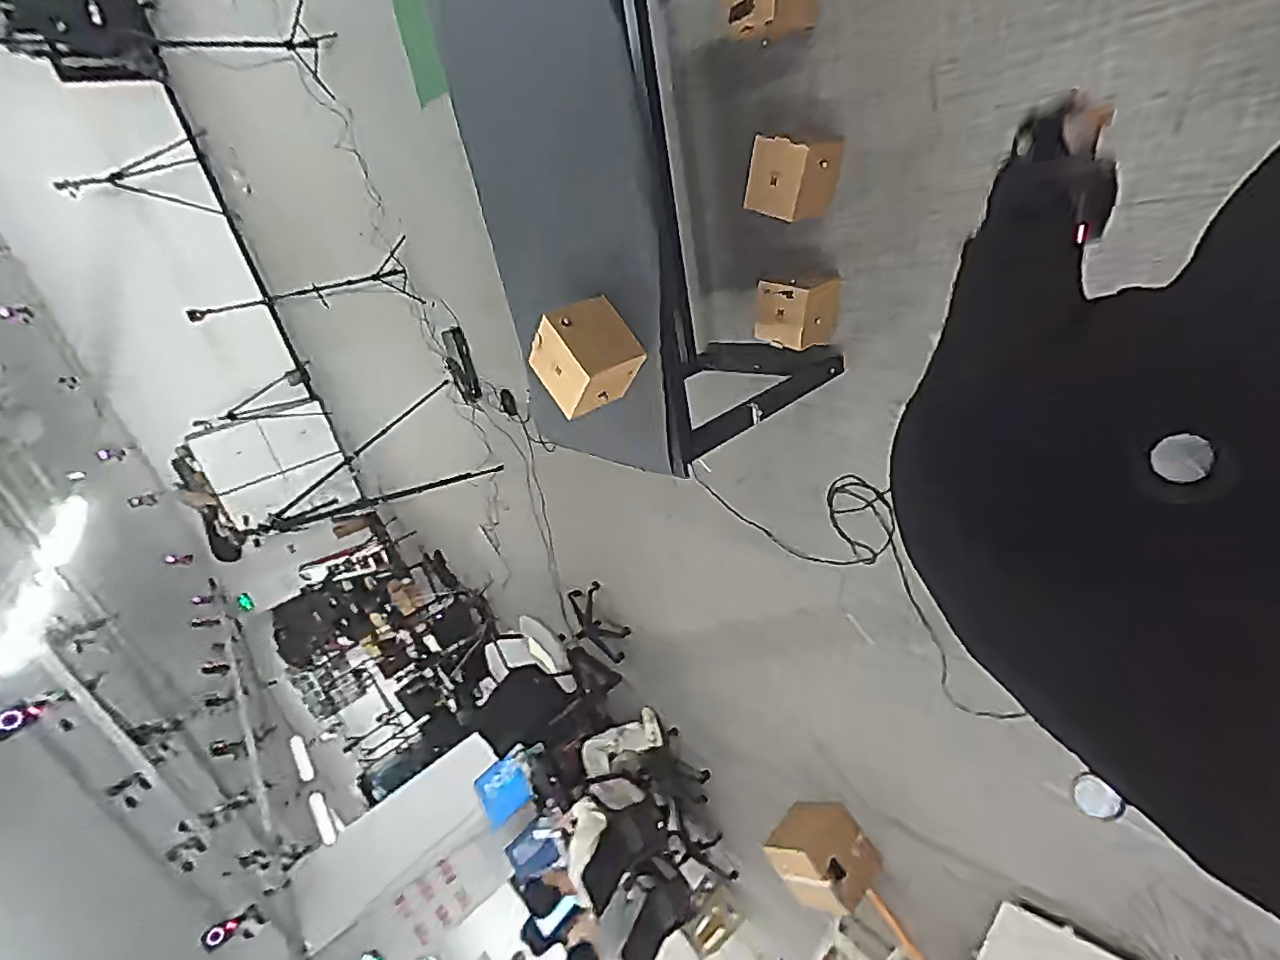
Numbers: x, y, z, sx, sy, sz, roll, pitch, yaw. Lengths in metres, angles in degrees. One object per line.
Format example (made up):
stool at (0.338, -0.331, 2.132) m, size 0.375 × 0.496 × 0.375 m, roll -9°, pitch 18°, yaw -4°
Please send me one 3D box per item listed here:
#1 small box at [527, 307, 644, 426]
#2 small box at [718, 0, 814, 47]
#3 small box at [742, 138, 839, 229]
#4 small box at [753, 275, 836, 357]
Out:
small box at (-0.120, -0.256, 1.199) m, size 0.179 × 0.176 × 0.168 m, roll 54°, pitch 146°, yaw 10°
small box at (0.302, -1.158, 1.289) m, size 0.168 × 0.176 × 0.179 m, roll 23°, pitch 130°, yaw 42°
small box at (0.400, -0.791, 1.434) m, size 0.168 × 0.176 × 0.179 m, roll 37°, pitch 141°, yaw 32°
small box at (0.453, -0.486, 1.591) m, size 0.168 × 0.176 × 0.179 m, roll 29°, pitch 136°, yaw 38°
